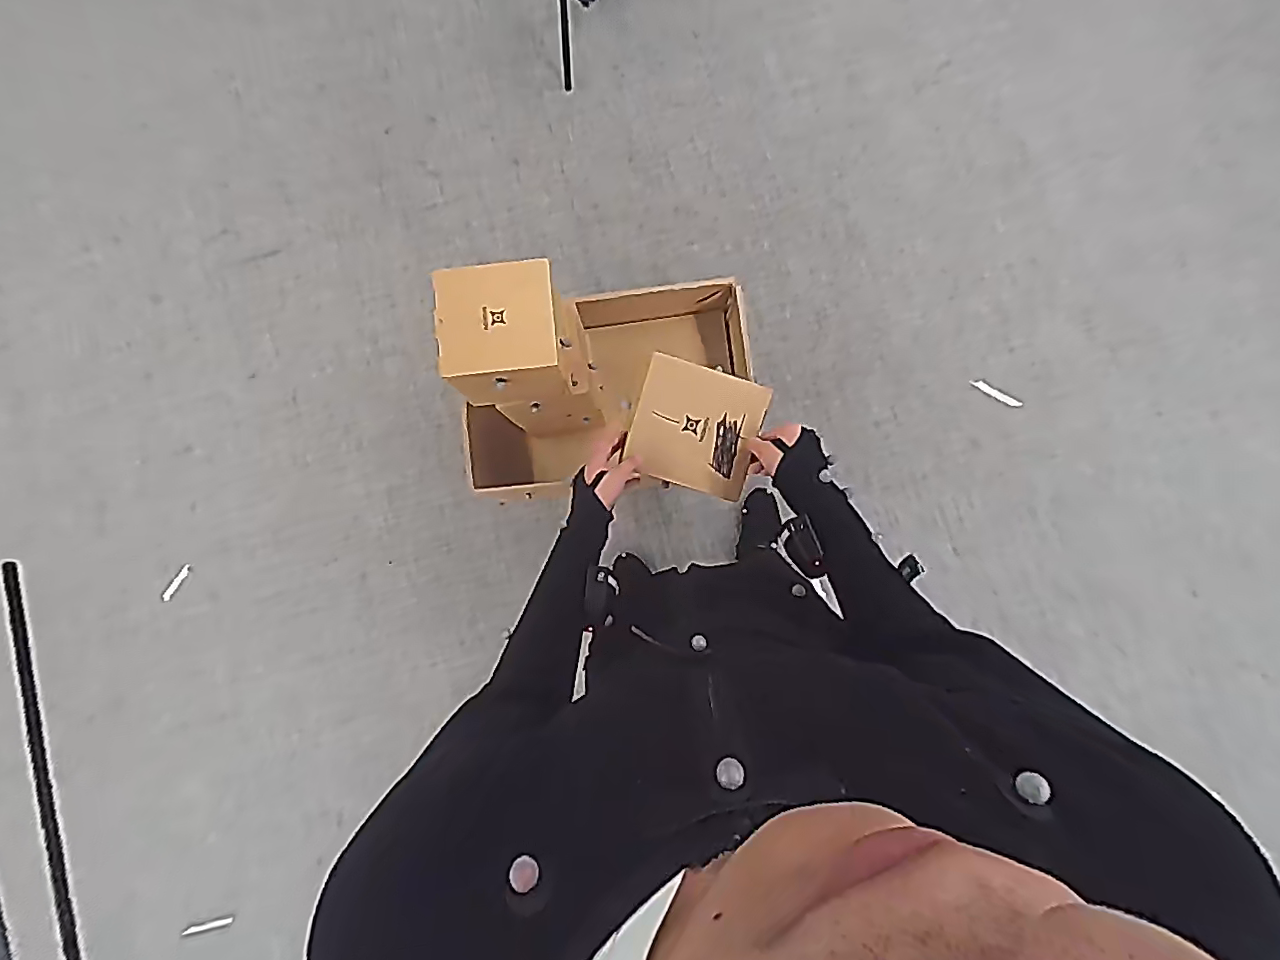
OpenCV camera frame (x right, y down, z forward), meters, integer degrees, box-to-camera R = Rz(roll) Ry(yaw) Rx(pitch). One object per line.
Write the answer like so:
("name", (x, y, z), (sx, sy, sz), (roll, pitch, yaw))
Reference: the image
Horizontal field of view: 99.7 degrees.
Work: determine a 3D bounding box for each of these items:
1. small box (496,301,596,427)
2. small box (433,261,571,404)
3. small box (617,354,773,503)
("small box", (-0.181, -0.212, 1.025), (0.168, 0.176, 0.179), (-9, 84, 0))
("small box", (-0.208, -0.226, 0.863), (0.179, 0.176, 0.168), (-7, 84, 1))
("small box", (0.071, -0.076, 0.813), (0.179, 0.176, 0.168), (17, 93, -5))
